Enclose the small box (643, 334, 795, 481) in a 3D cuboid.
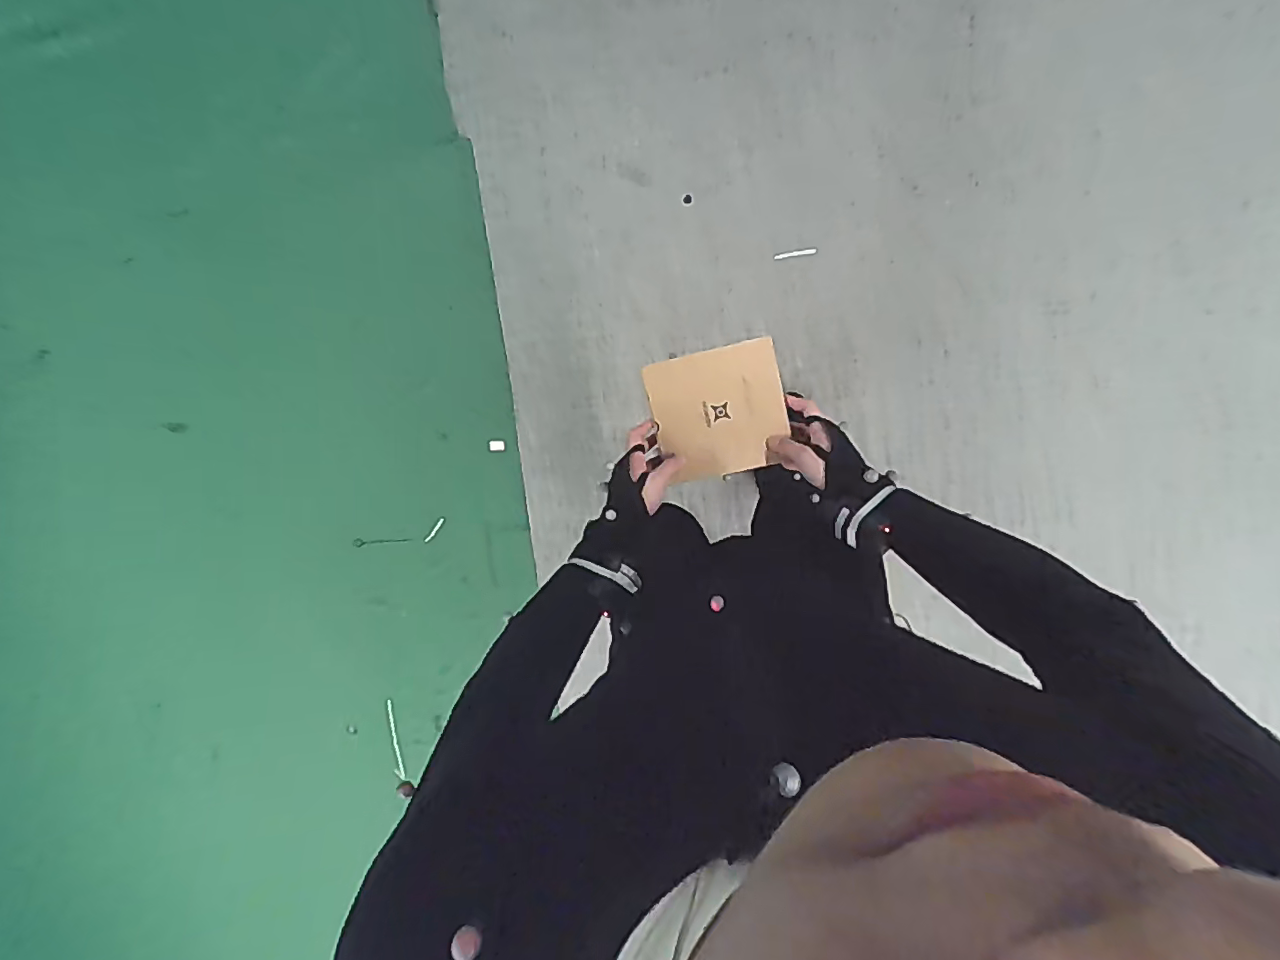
[{"bbox_3d":[0.113,-0.100,0.789,0.179,0.176,0.168,-12,95,7],"label":"small box"}]
